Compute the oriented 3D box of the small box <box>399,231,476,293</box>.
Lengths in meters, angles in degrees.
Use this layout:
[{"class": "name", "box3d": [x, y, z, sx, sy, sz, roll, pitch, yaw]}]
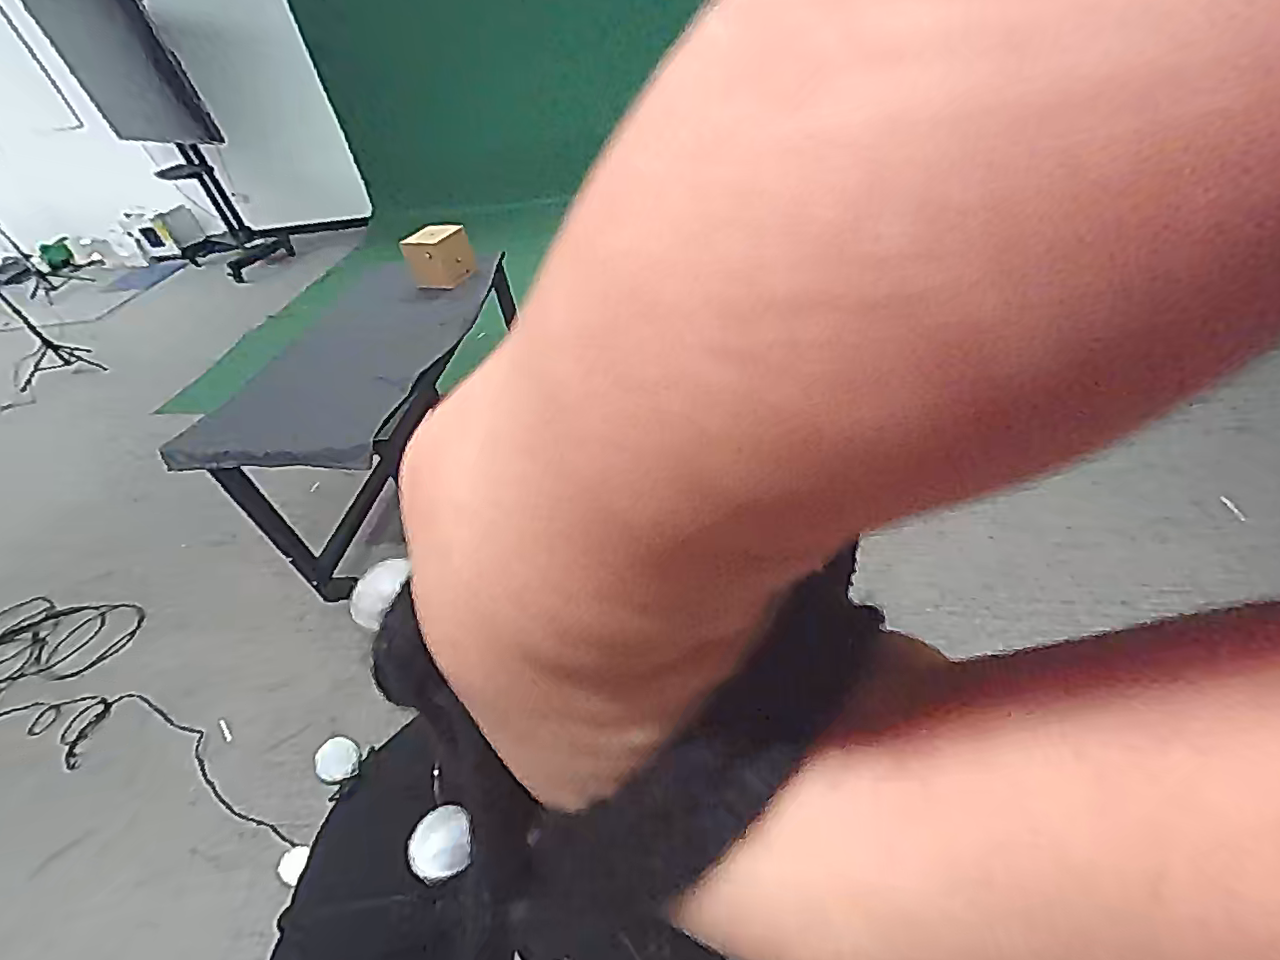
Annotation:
[{"class": "small box", "box3d": [-0.744, -0.809, 2.011, 0.179, 0.176, 0.168, 10, 46, 24]}]
